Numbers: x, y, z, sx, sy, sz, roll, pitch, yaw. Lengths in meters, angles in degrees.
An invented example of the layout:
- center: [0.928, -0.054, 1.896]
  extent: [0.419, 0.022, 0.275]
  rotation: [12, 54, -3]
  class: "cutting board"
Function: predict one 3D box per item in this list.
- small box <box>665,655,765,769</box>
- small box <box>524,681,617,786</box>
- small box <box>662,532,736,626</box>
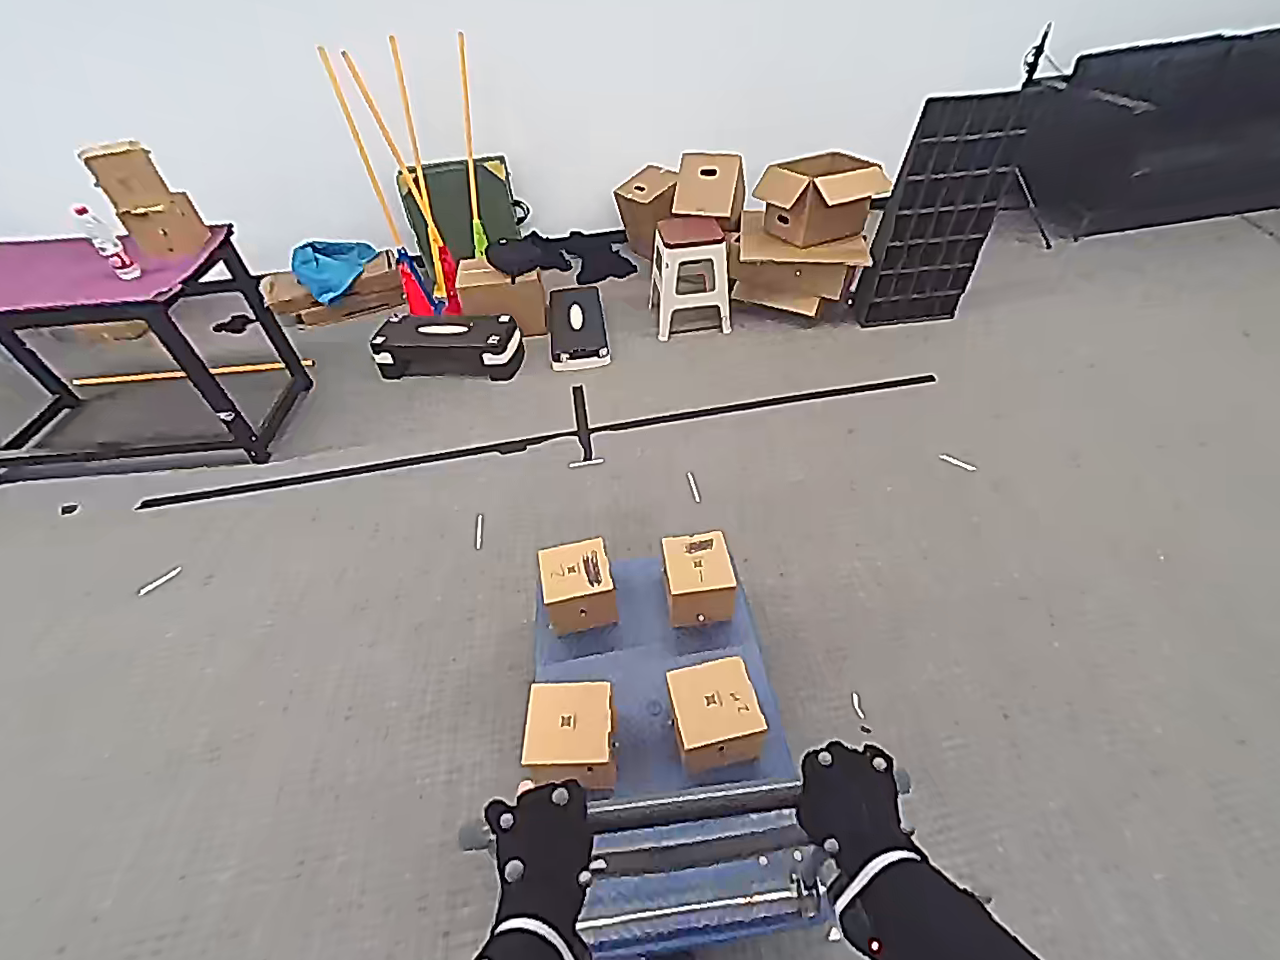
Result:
- center: [0.161, 0.517, 1.199]
  extent: [0.179, 0.176, 0.168]
  rotation: [-11, 46, -6]
  class: "small box"
- center: [-0.143, 0.557, 1.183]
  extent: [0.179, 0.176, 0.168]
  rotation: [-2, 45, 0]
  class: "small box"
- center: [0.150, 0.264, 1.445]
  extent: [0.168, 0.176, 0.179]
  rotation: [-7, 47, -3]
  class: "small box"
